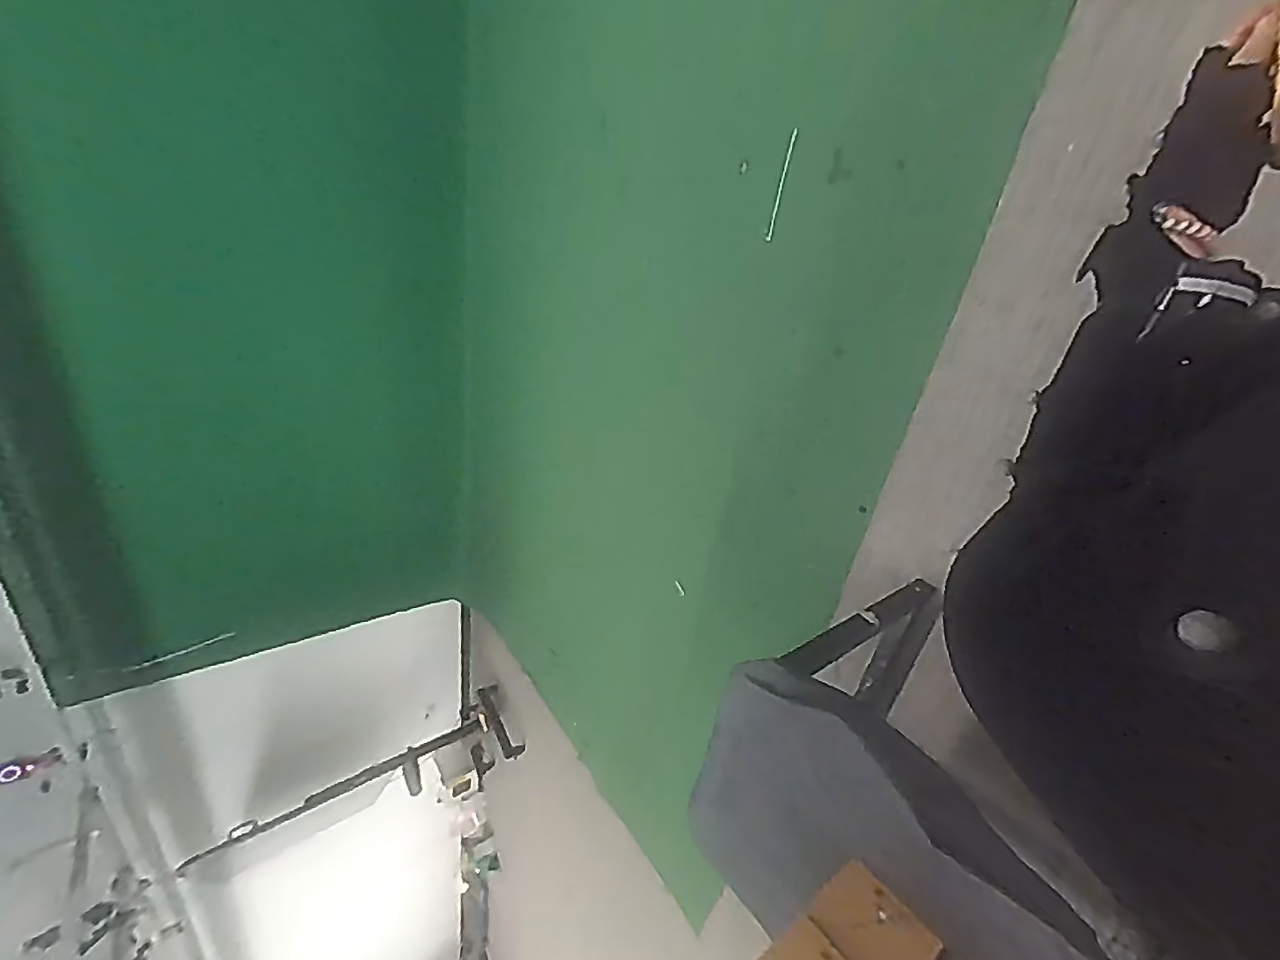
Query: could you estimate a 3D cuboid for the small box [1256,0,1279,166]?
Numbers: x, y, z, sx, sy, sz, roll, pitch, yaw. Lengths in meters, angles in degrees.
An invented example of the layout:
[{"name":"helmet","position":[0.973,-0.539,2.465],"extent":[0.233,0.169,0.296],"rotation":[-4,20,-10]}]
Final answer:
[{"name":"small box","position":[0.480,-0.306,0.297],"extent":[0.179,0.176,0.168],"rotation":[5,100,48]}]
